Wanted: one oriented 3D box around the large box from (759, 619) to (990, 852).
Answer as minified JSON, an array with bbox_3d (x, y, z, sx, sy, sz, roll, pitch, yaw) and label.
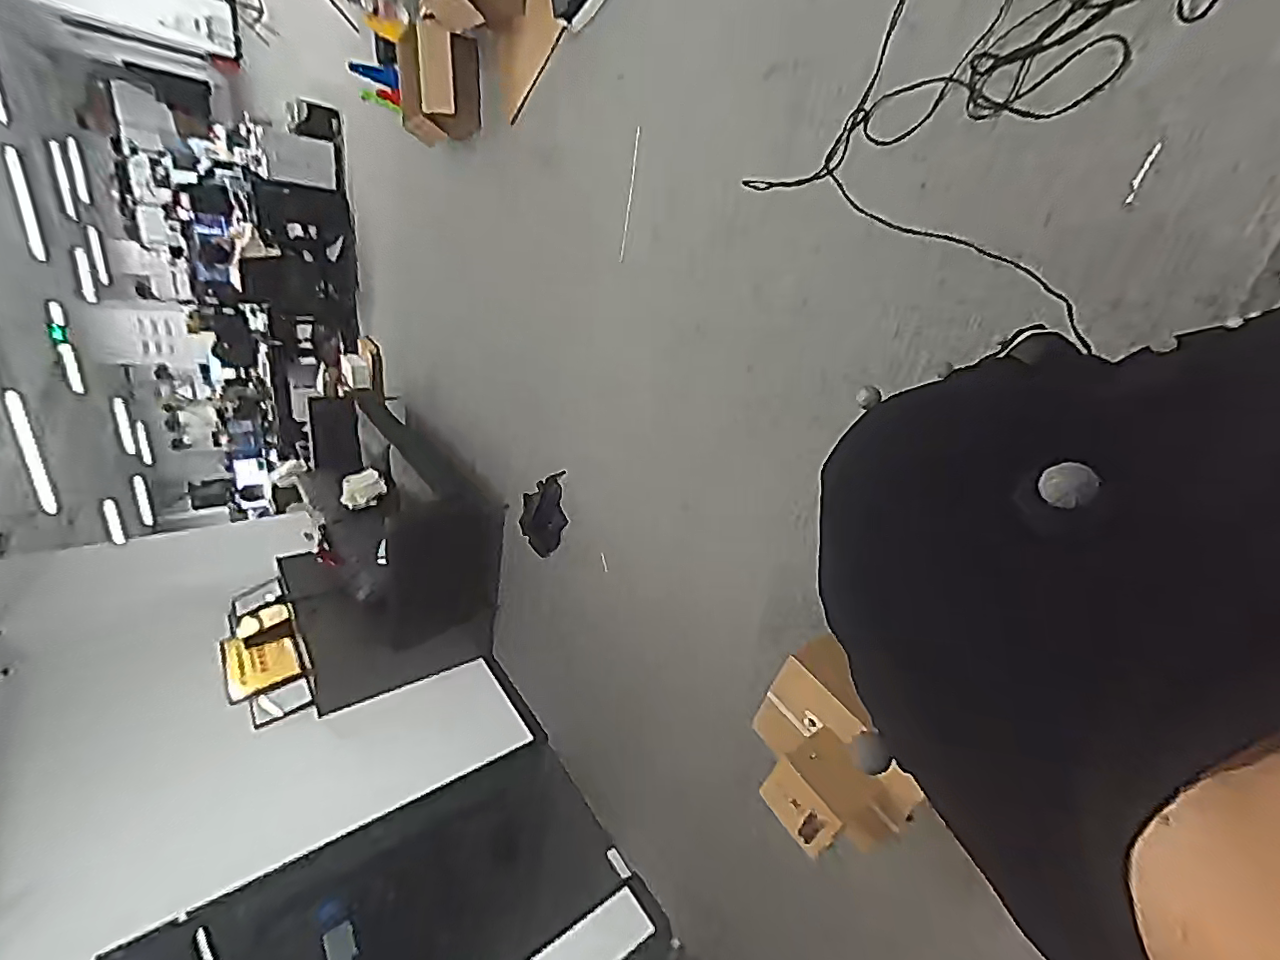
[{"bbox_3d":[0.606,0.652,1.439,0.408,0.320,0.320,44,130,39],"label":"large box"}]
